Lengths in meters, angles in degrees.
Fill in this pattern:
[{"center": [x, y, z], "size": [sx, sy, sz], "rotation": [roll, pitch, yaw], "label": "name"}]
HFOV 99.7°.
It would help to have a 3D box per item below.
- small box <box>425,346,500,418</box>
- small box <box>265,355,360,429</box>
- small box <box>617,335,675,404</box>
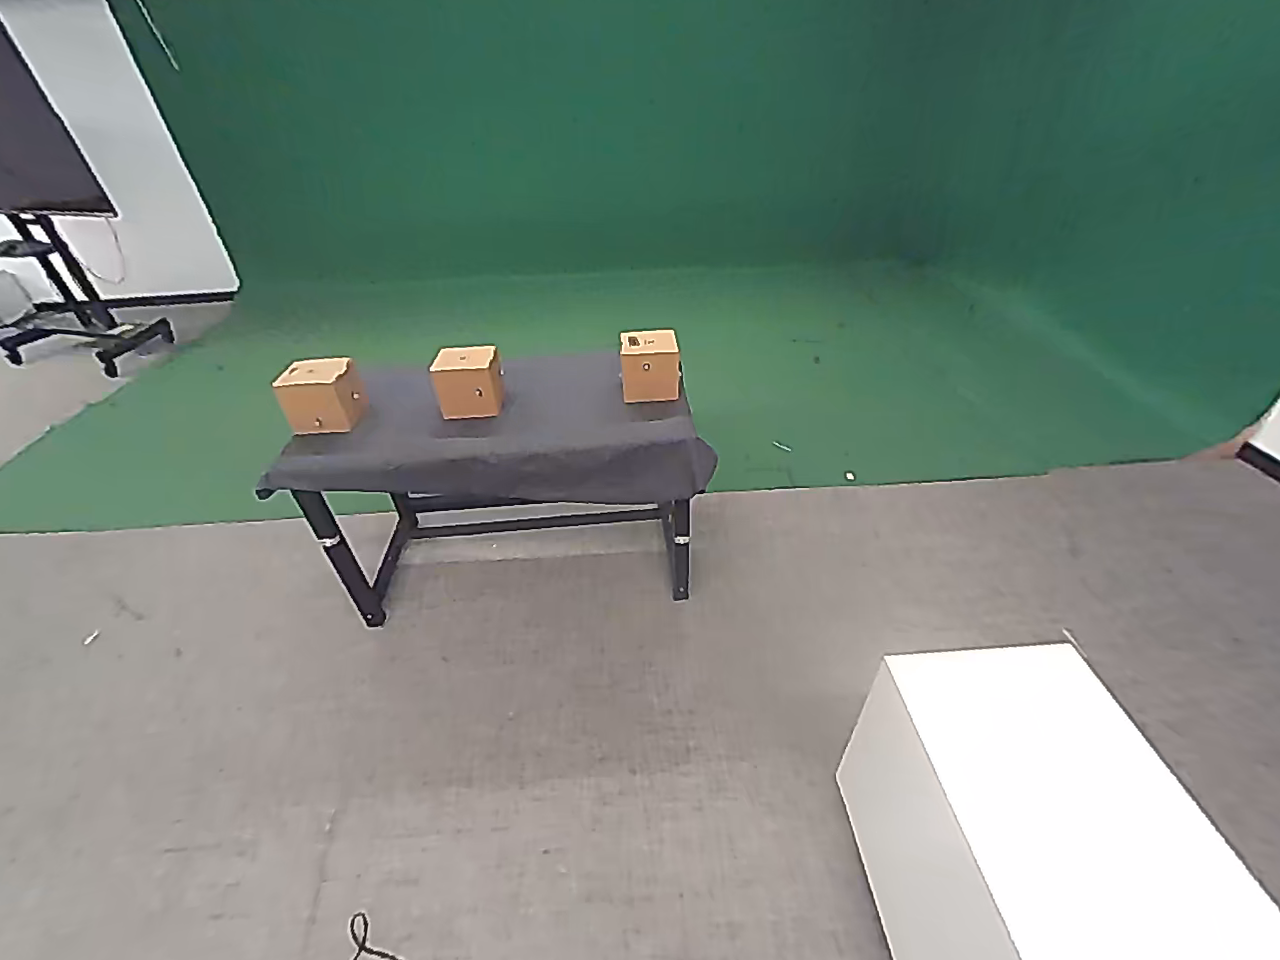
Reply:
[{"center": [-0.544, -0.305, 1.687], "size": [0.179, 0.176, 0.168], "rotation": [-4, 36, -2], "label": "small box"}, {"center": [-0.979, -0.264, 1.637], "size": [0.179, 0.176, 0.168], "rotation": [-2, 37, -4], "label": "small box"}, {"center": [0.018, -0.353, 1.732], "size": [0.179, 0.176, 0.168], "rotation": [-2, 38, -2], "label": "small box"}]
